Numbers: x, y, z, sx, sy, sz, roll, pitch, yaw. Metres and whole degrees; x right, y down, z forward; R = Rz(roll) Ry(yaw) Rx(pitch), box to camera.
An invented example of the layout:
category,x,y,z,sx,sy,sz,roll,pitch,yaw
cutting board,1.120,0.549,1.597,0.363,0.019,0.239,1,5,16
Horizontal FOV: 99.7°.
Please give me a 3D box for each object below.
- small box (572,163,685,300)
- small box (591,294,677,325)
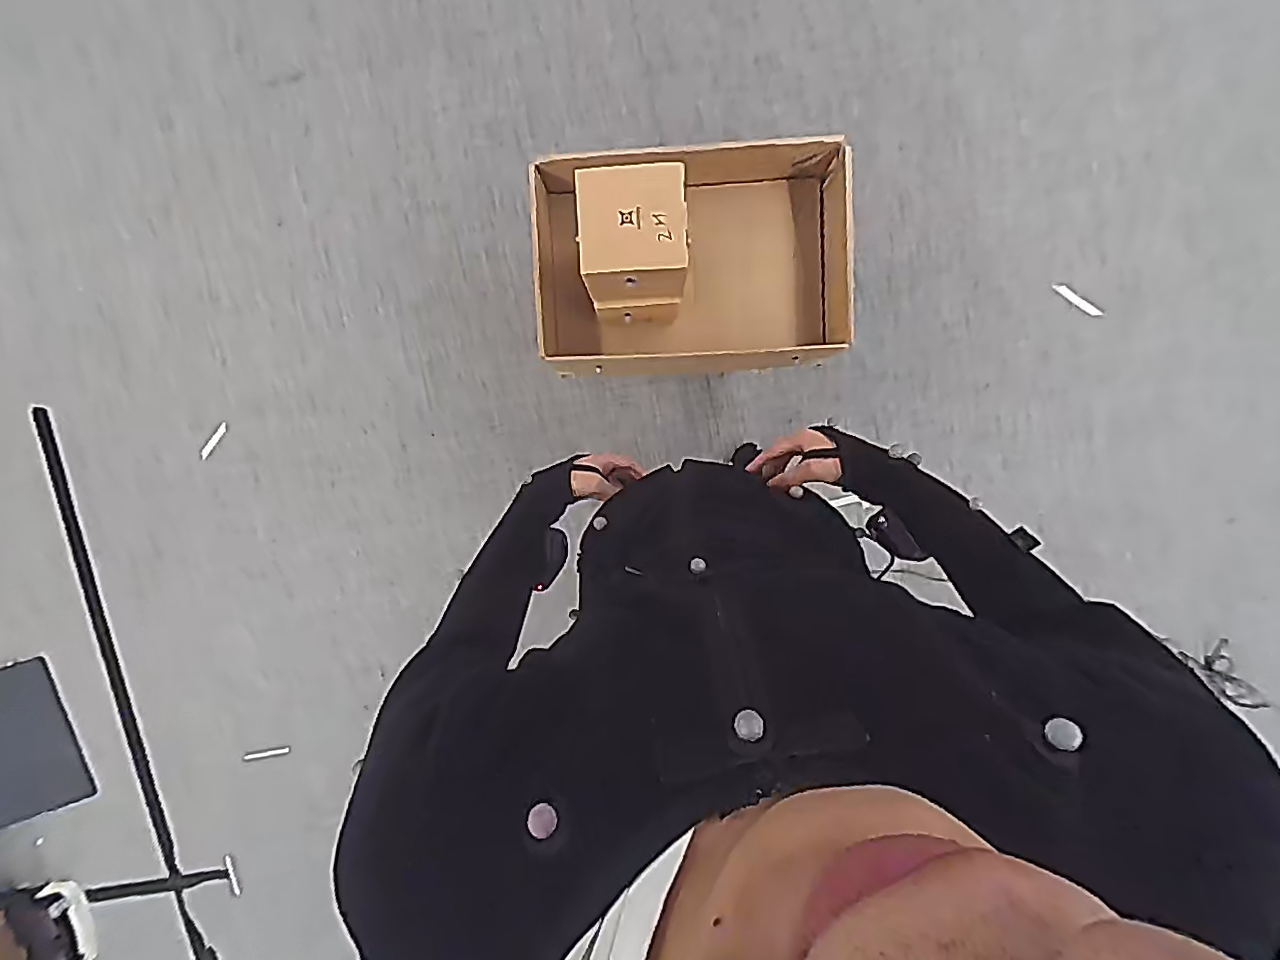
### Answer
category,x,y,z,sx,sy,sz,roll,pitch,yaw
small box,-0.014,-0.415,0.931,0.179,0.176,0.168,-2,94,1
small box,-0.013,-0.419,1.096,0.168,0.176,0.179,-4,93,1
